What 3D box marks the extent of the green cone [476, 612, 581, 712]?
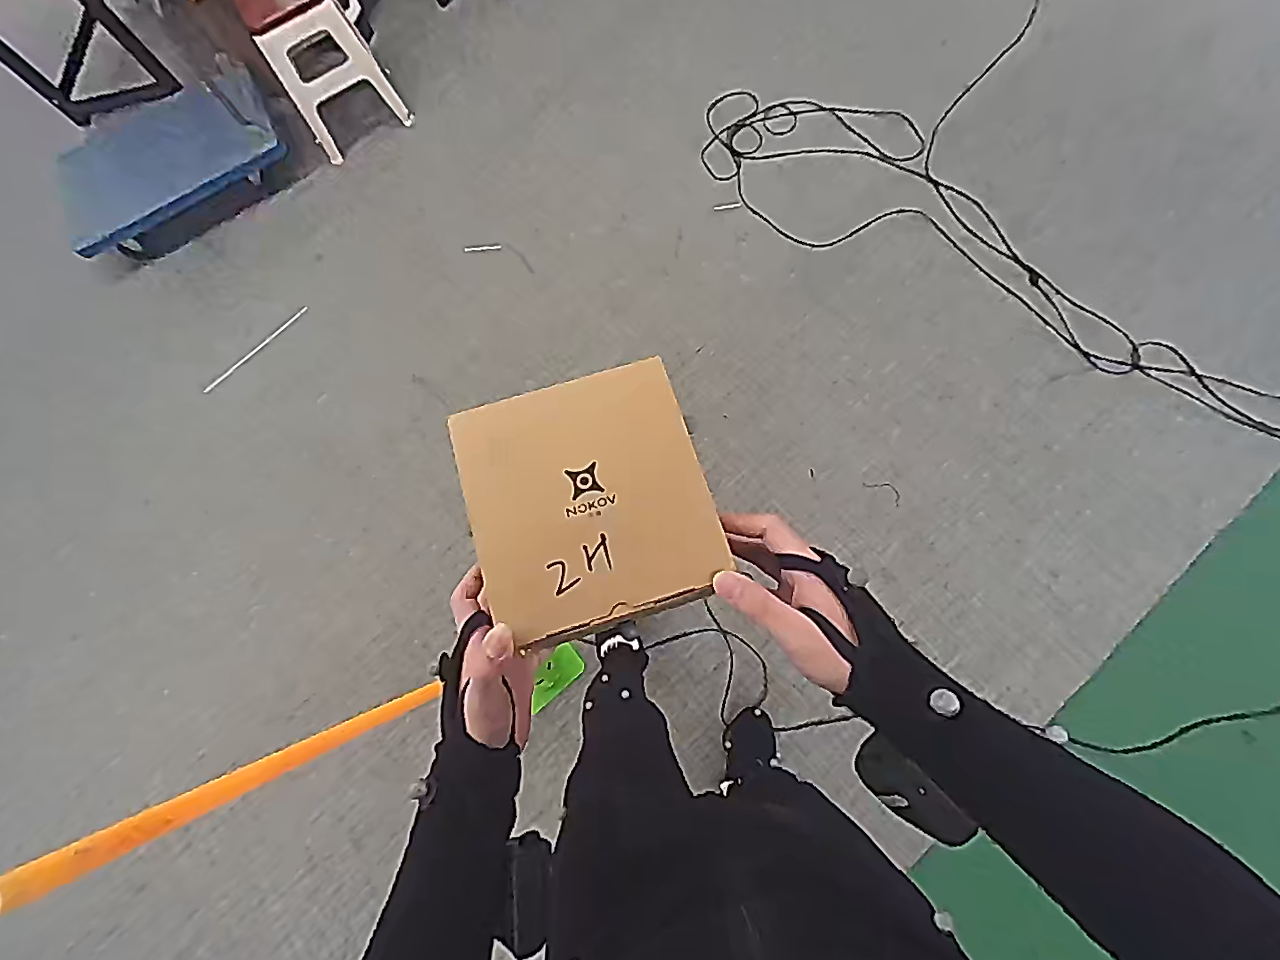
[{"bbox_3d":[-0.308,0.440,1.310,0.202,0.368,0.200,-41,72,-7],"label":"green cone"}]
